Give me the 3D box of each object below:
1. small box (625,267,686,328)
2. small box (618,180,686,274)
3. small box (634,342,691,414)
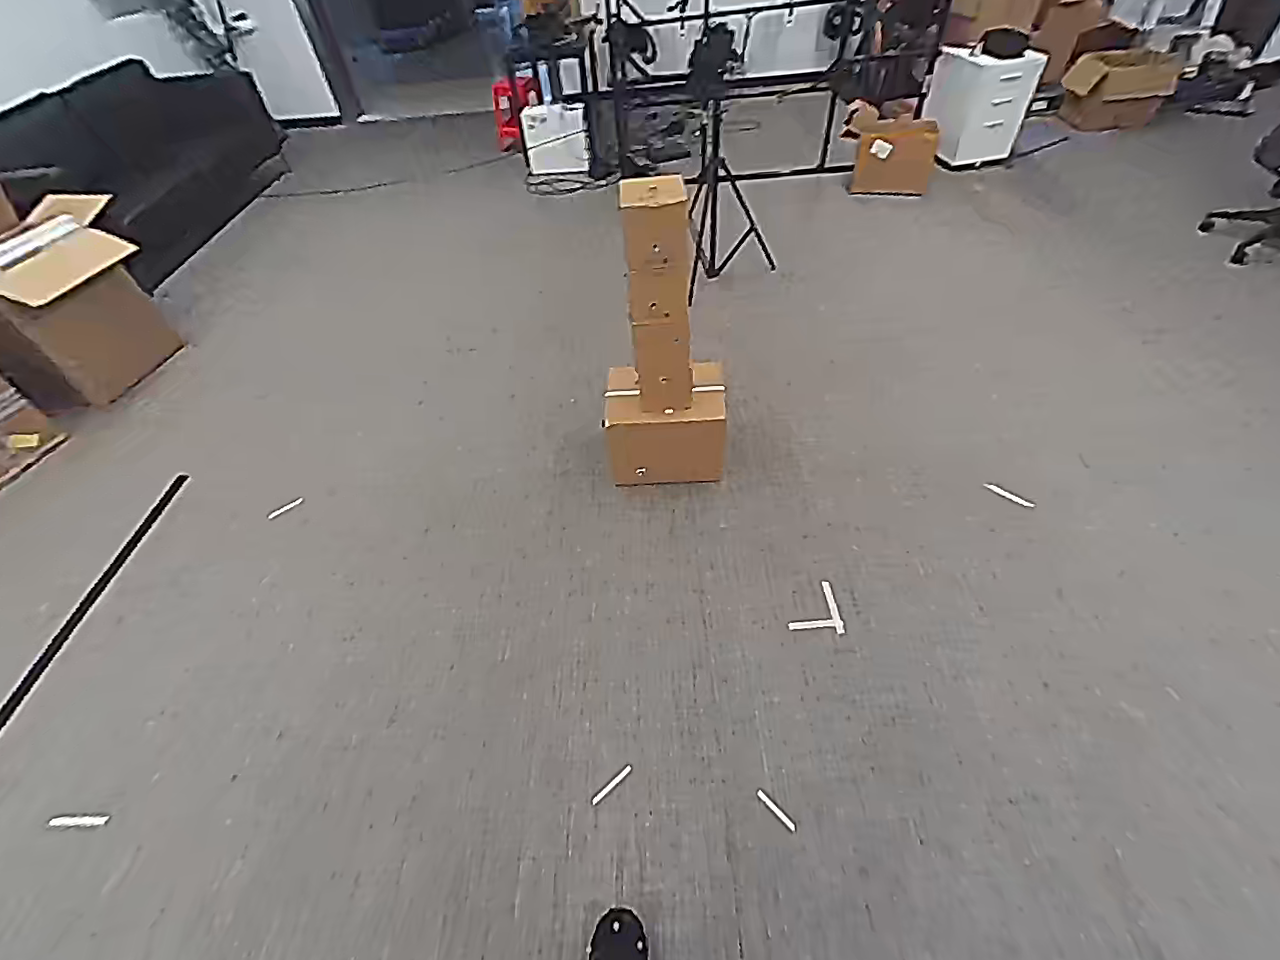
[{"bbox_3d":[0.043,-0.559,1.559,0.168,0.176,0.179,-4,49,2],"label":"small box"},{"bbox_3d":[0.031,-0.671,1.438,0.168,0.176,0.179,-5,49,1],"label":"small box"},{"bbox_3d":[0.076,-0.335,1.794,0.179,0.176,0.168,-4,49,1],"label":"small box"}]
